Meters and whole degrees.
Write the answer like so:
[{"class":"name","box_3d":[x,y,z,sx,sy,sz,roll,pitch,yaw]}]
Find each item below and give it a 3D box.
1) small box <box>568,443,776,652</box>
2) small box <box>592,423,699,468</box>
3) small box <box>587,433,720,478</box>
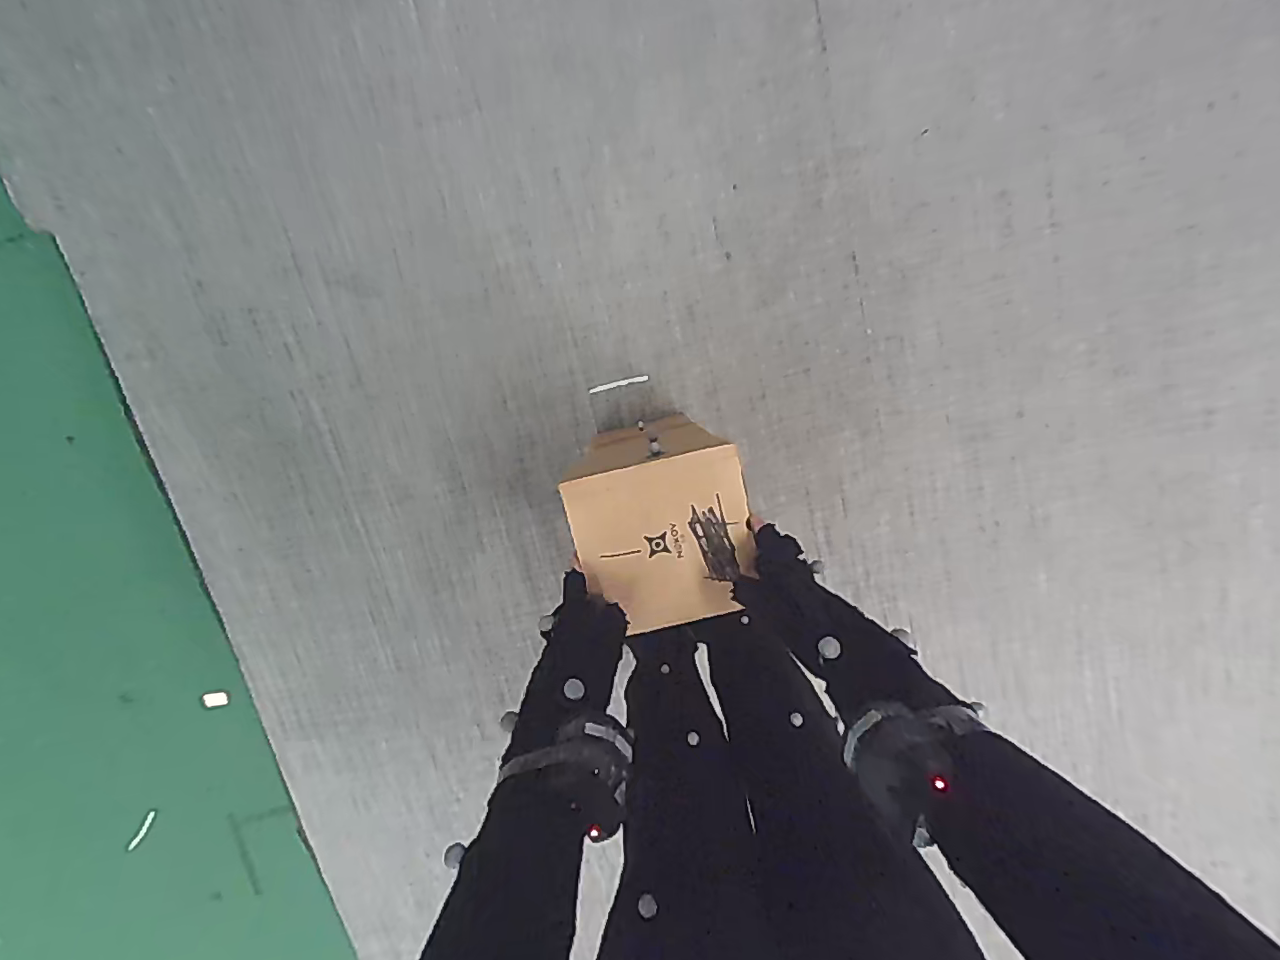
[{"class":"small box","box_3d":[0.029,0.061,0.610,0.179,0.176,0.168,-17,98,0]},{"class":"small box","box_3d":[0.027,0.002,0.937,0.179,0.176,0.168,-13,100,5]},{"class":"small box","box_3d":[0.032,0.035,0.777,0.179,0.176,0.168,-14,100,2]}]
